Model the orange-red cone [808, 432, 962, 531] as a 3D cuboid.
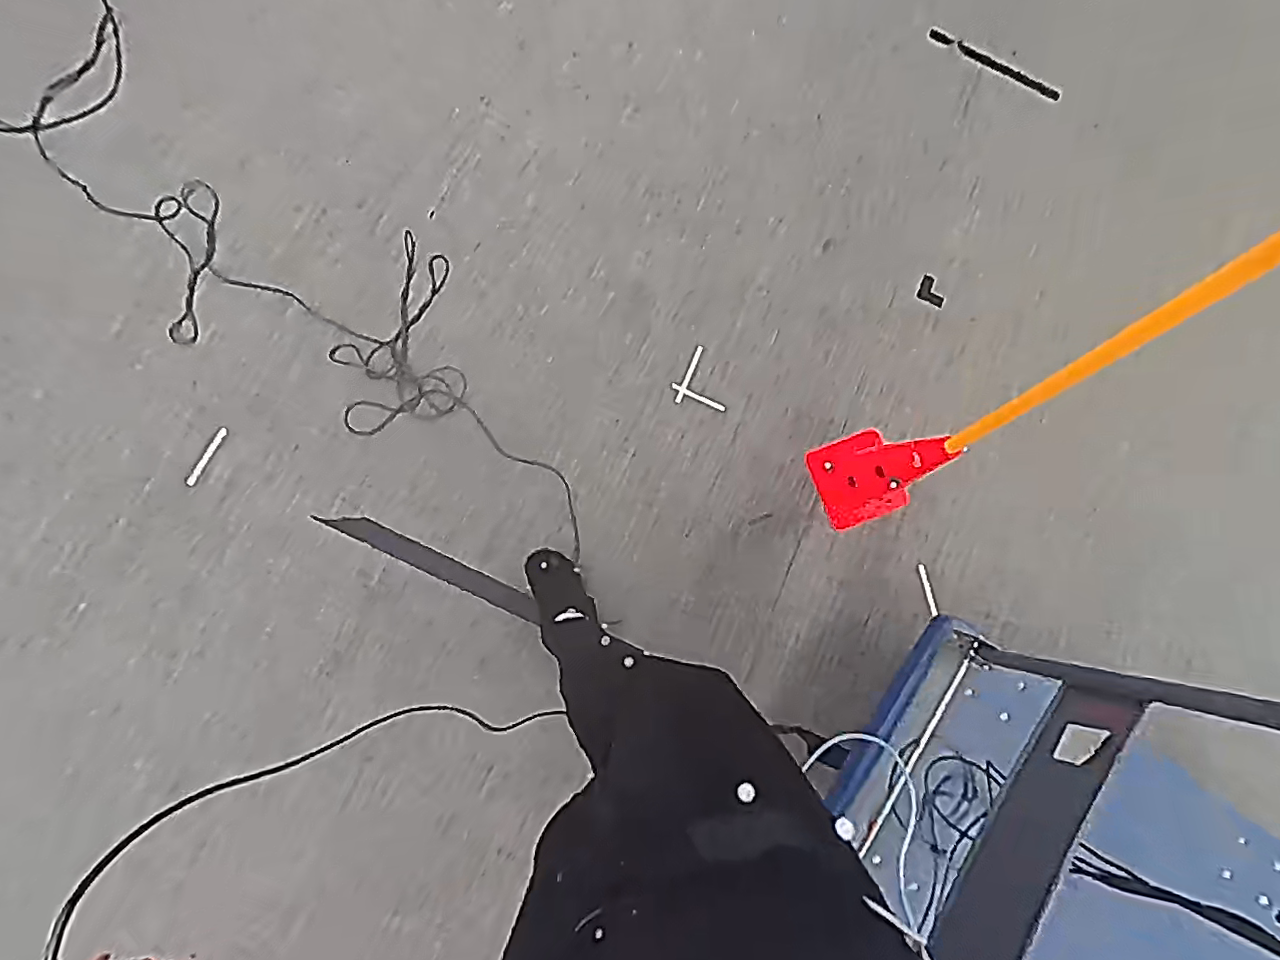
[{"bbox_3d":[0.520,-0.024,1.092,0.198,0.360,0.199,-19,84,-7],"label":"orange-red cone"}]
